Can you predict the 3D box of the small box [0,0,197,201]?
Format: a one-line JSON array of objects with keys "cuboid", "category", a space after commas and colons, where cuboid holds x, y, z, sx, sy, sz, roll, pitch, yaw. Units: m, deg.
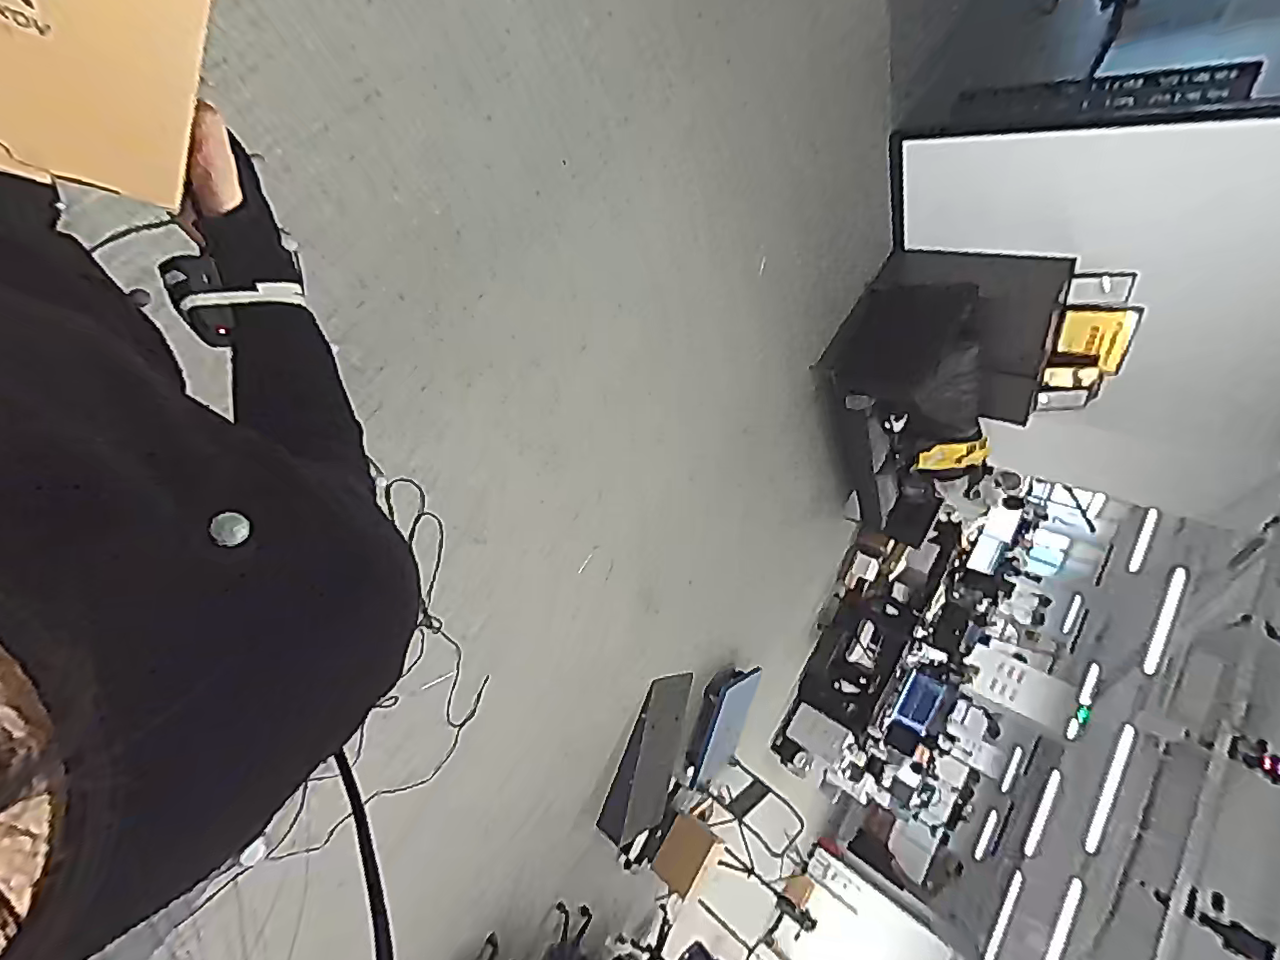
[{"cuboid": [-0.385, -0.298, 0.303, 0.168, 0.176, 0.179, -6, 127, -57], "category": "small box"}]
